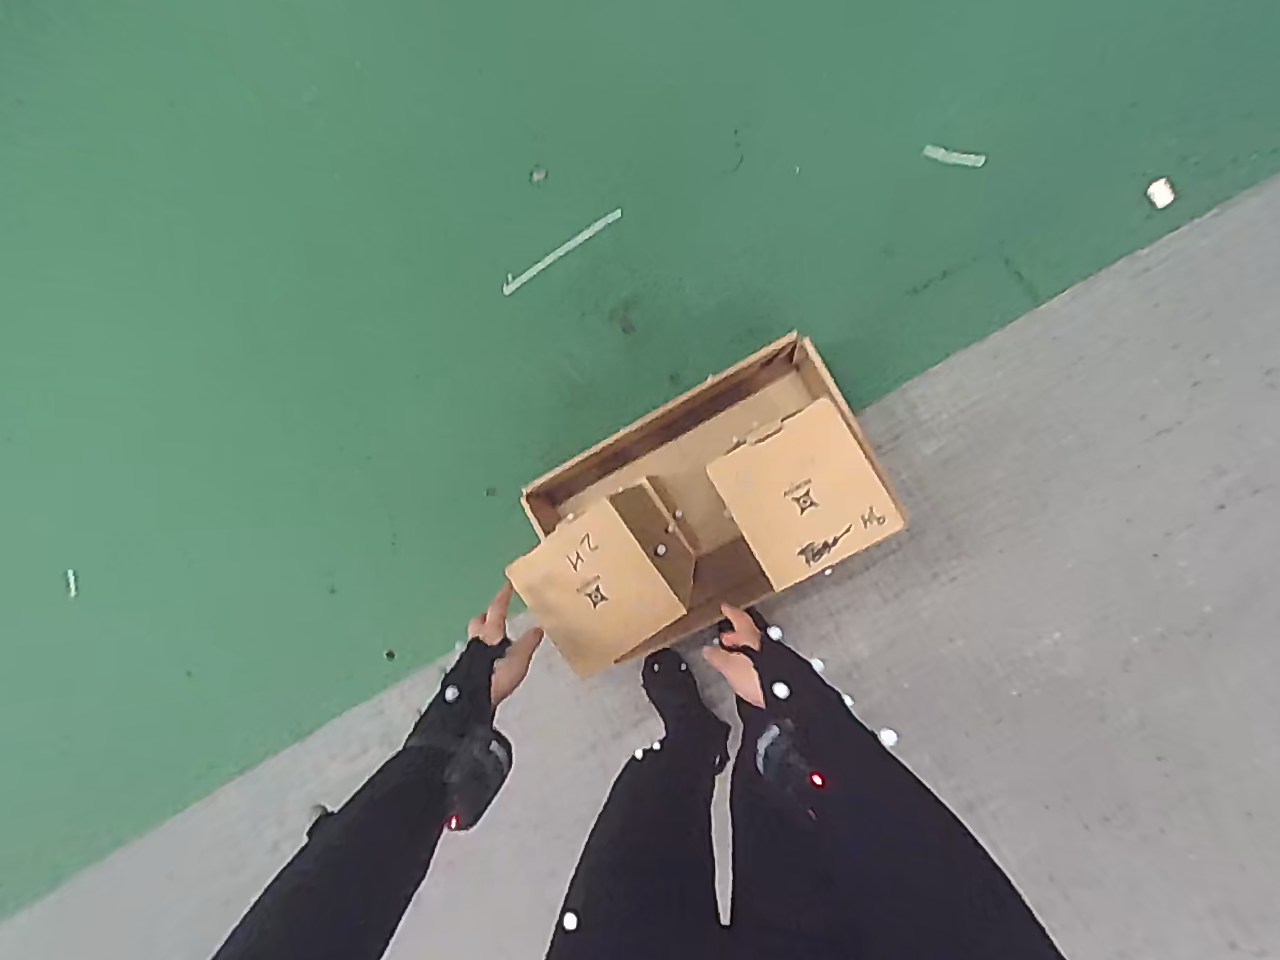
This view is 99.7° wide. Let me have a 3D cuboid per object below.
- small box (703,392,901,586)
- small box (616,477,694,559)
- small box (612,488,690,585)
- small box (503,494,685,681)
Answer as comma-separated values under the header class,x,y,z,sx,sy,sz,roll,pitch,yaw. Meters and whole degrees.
class,x,y,z,sx,sy,sz,roll,pitch,yaw
small box,0.196,0.011,0.701,0.168,0.176,0.179,-30,86,10
small box,-0.006,0.109,1.069,0.168,0.176,0.179,-34,87,7
small box,-0.030,0.127,0.907,0.168,0.176,0.179,-36,88,7
small box,-0.050,0.133,0.743,0.168,0.176,0.179,-36,87,7
